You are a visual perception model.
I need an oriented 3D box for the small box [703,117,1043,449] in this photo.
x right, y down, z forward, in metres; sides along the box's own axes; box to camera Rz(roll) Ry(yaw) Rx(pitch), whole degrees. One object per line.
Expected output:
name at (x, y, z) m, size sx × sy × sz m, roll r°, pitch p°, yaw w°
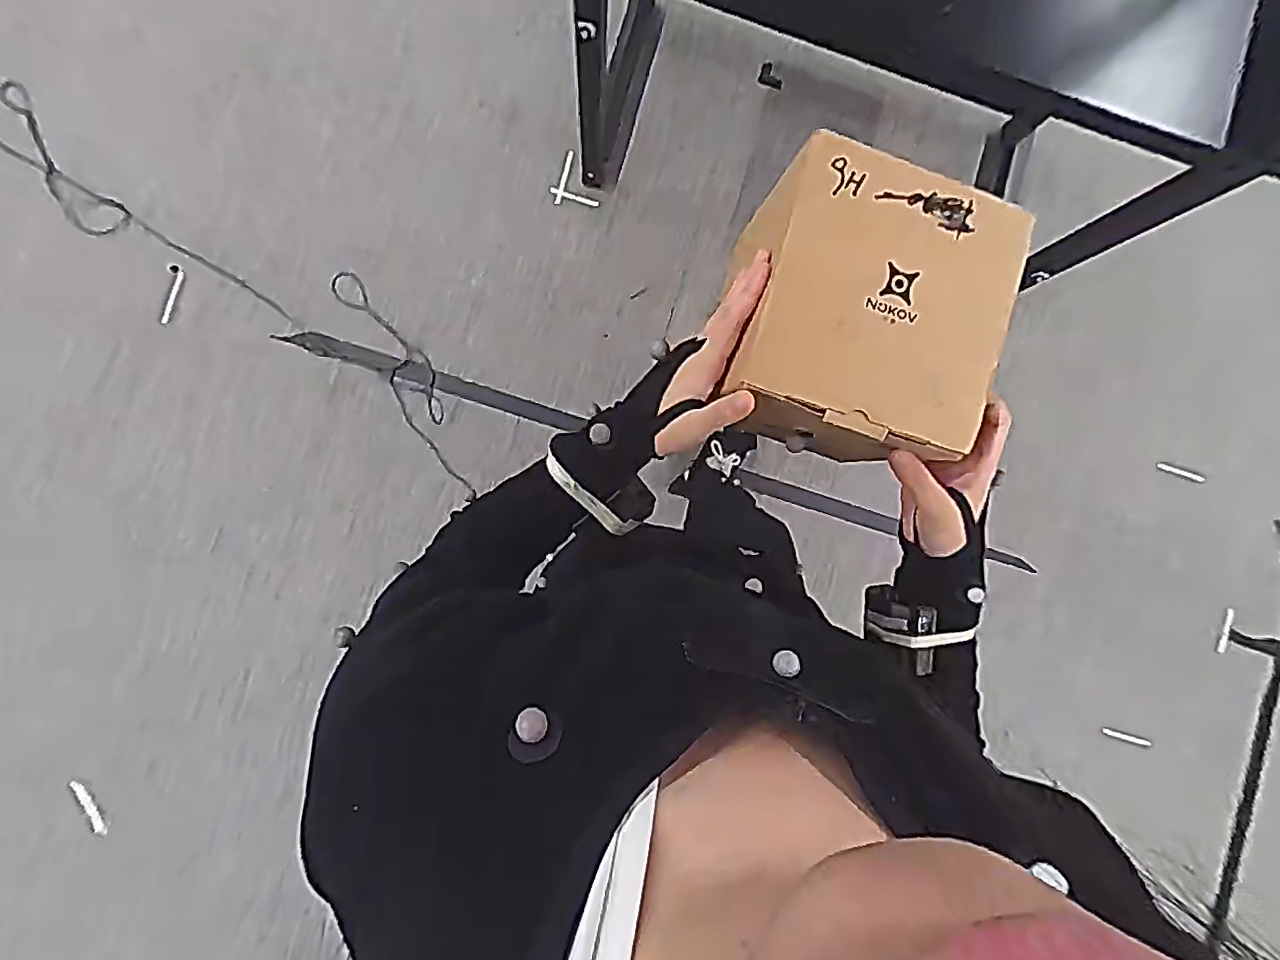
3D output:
small box at (0.159, -0.128, 0.431) m, size 0.168 × 0.176 × 0.179 m, roll 17°, pitch 90°, yaw -7°
